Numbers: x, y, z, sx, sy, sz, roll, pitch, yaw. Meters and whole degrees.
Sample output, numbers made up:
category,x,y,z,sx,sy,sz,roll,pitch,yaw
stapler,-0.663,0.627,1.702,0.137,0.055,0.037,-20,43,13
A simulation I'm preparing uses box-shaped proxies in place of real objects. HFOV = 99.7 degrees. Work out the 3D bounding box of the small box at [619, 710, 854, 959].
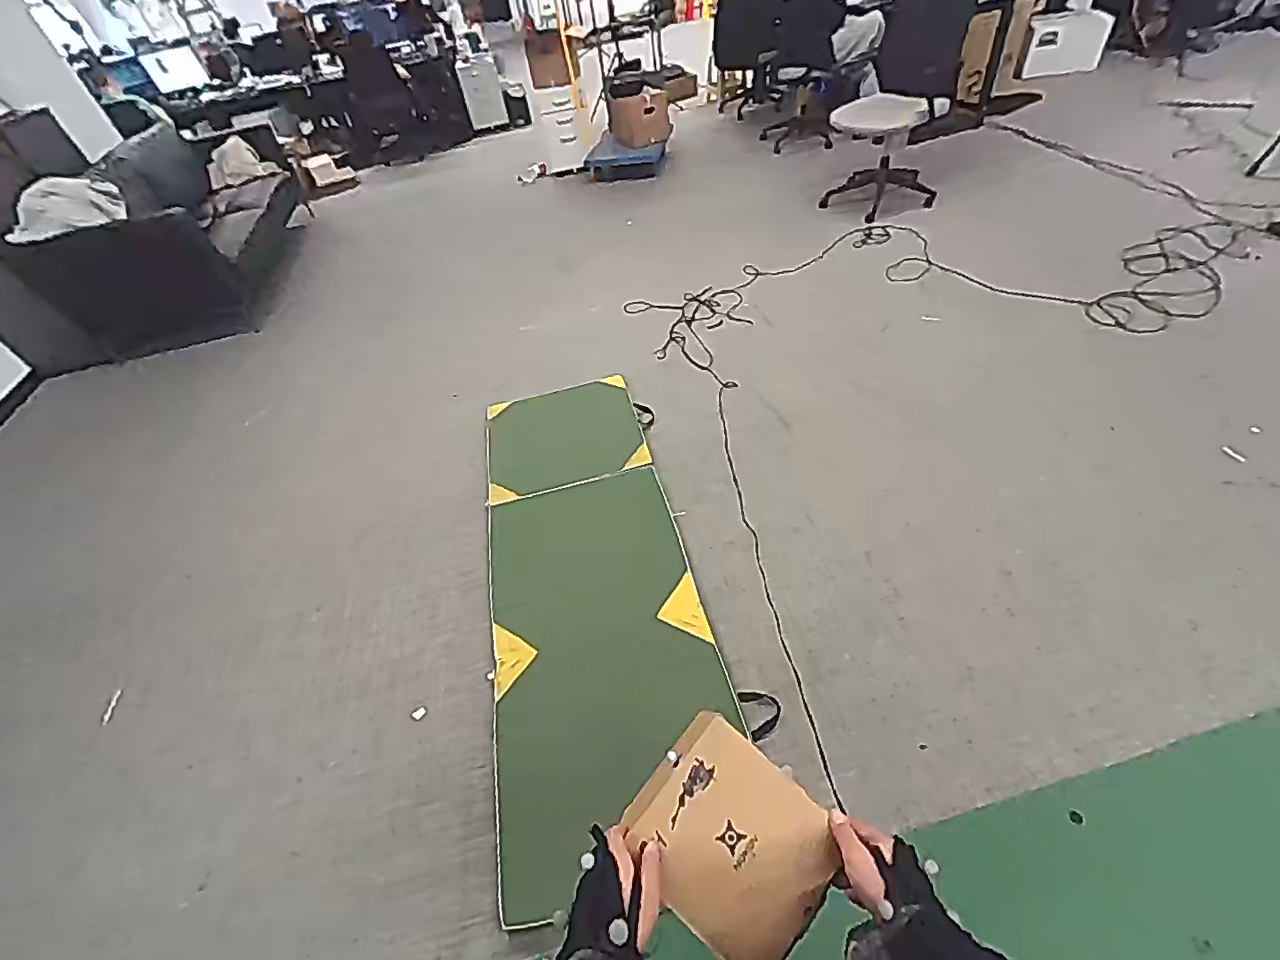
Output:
category,x,y,z,sx,sy,sz,roll,pitch,yaw
small box,0.096,0.378,0.606,0.179,0.176,0.168,39,73,15
